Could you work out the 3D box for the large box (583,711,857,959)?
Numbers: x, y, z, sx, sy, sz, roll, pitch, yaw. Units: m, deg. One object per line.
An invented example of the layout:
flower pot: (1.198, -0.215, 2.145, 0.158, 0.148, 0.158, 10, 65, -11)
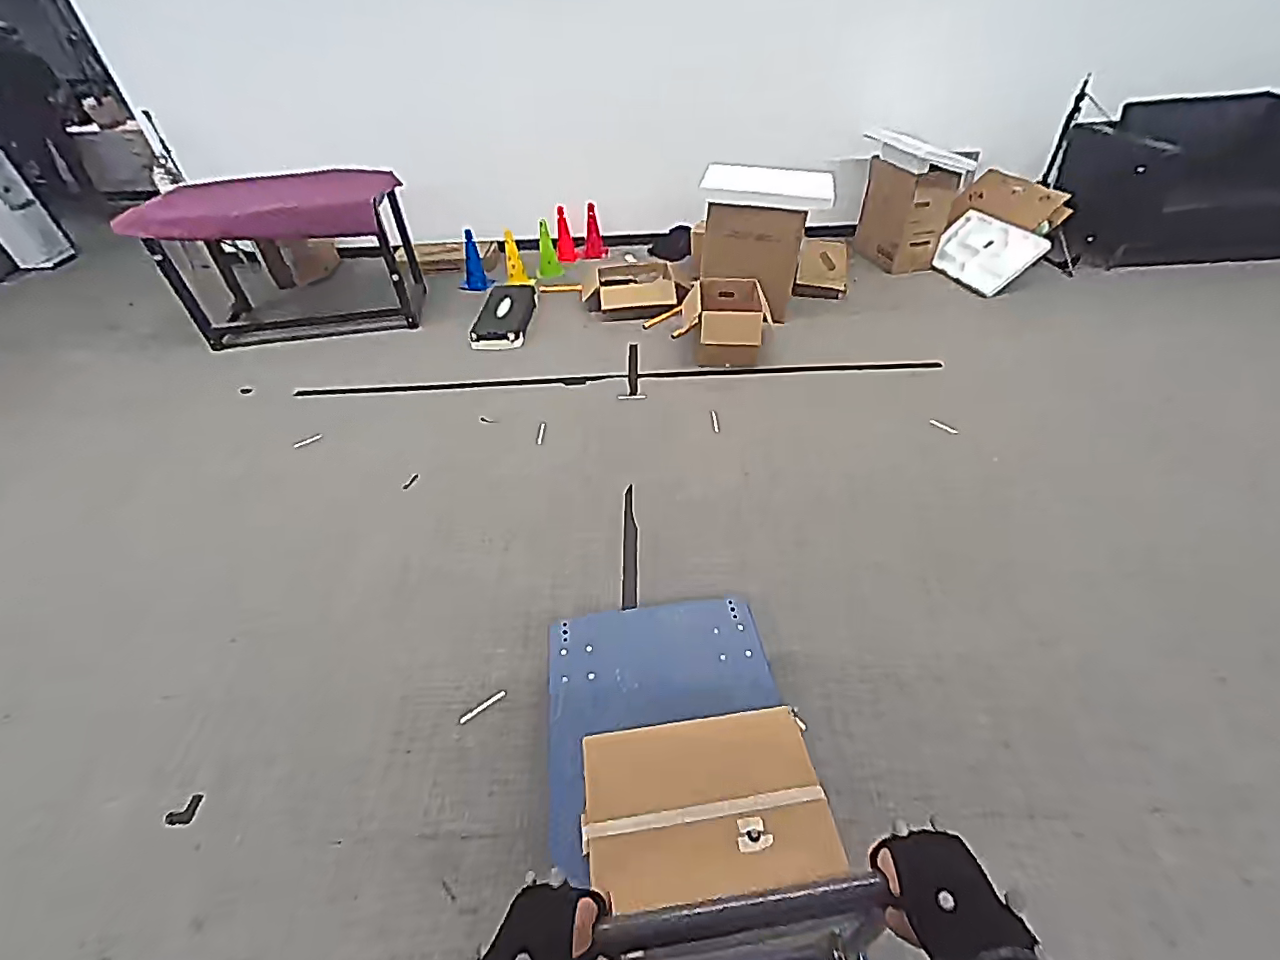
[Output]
large box: (0.114, 0.677, 1.001, 0.408, 0.320, 0.320, -6, 42, -5)
